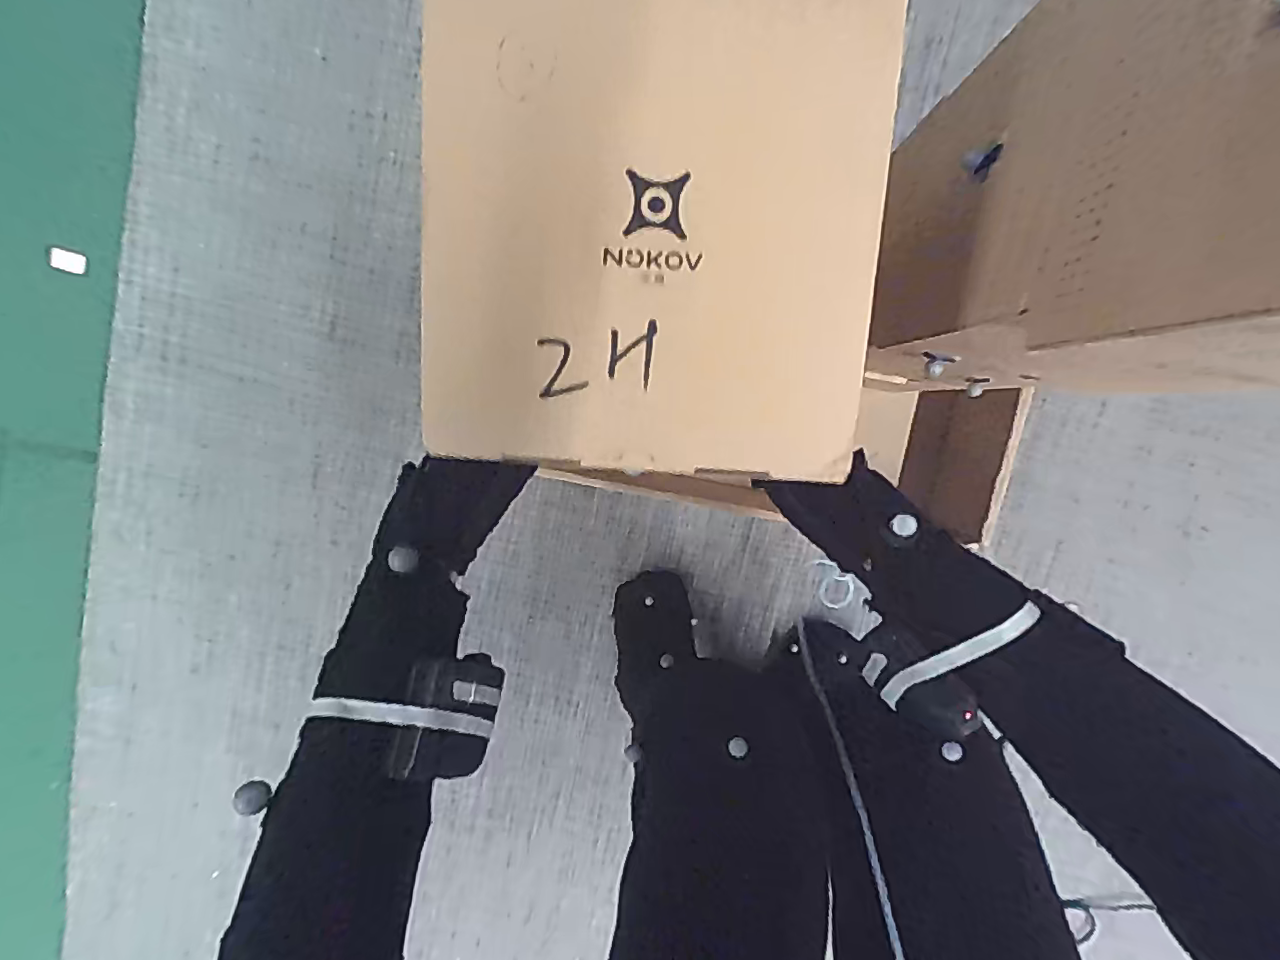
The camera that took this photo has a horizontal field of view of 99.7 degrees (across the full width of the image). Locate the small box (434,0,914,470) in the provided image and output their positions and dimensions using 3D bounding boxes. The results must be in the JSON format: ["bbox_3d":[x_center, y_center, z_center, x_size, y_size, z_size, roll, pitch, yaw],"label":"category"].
[{"bbox_3d":[0.008,-0.106,0.276,0.168,0.176,0.179,4,99,-1],"label":"small box"}]

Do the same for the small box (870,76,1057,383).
[{"bbox_3d":[0.279,-0.181,0.449,0.168,0.176,0.179,11,98,1],"label":"small box"}]

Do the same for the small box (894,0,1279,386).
[{"bbox_3d":[0.271,-0.154,0.303,0.168,0.176,0.179,12,98,-1],"label":"small box"}]
